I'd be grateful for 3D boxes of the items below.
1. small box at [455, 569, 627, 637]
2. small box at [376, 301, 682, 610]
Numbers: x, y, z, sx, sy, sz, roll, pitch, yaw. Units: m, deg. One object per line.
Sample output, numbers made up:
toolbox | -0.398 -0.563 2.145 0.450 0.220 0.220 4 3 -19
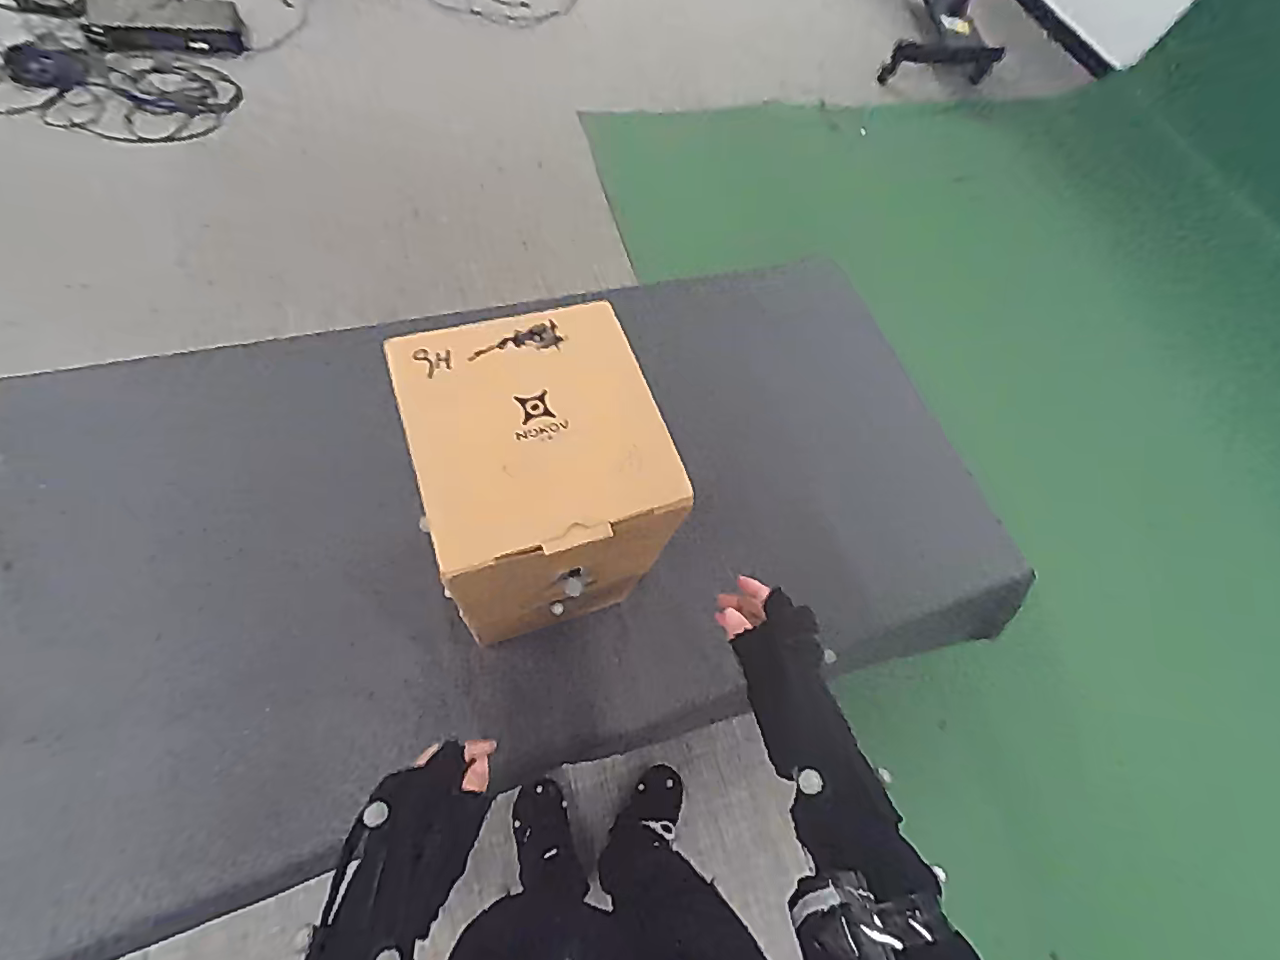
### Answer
small box | -0.115 0.055 0.579 0.179 0.176 0.168 -15 70 -18
small box | -0.086 -0.007 0.429 0.168 0.176 0.179 -16 70 -17
